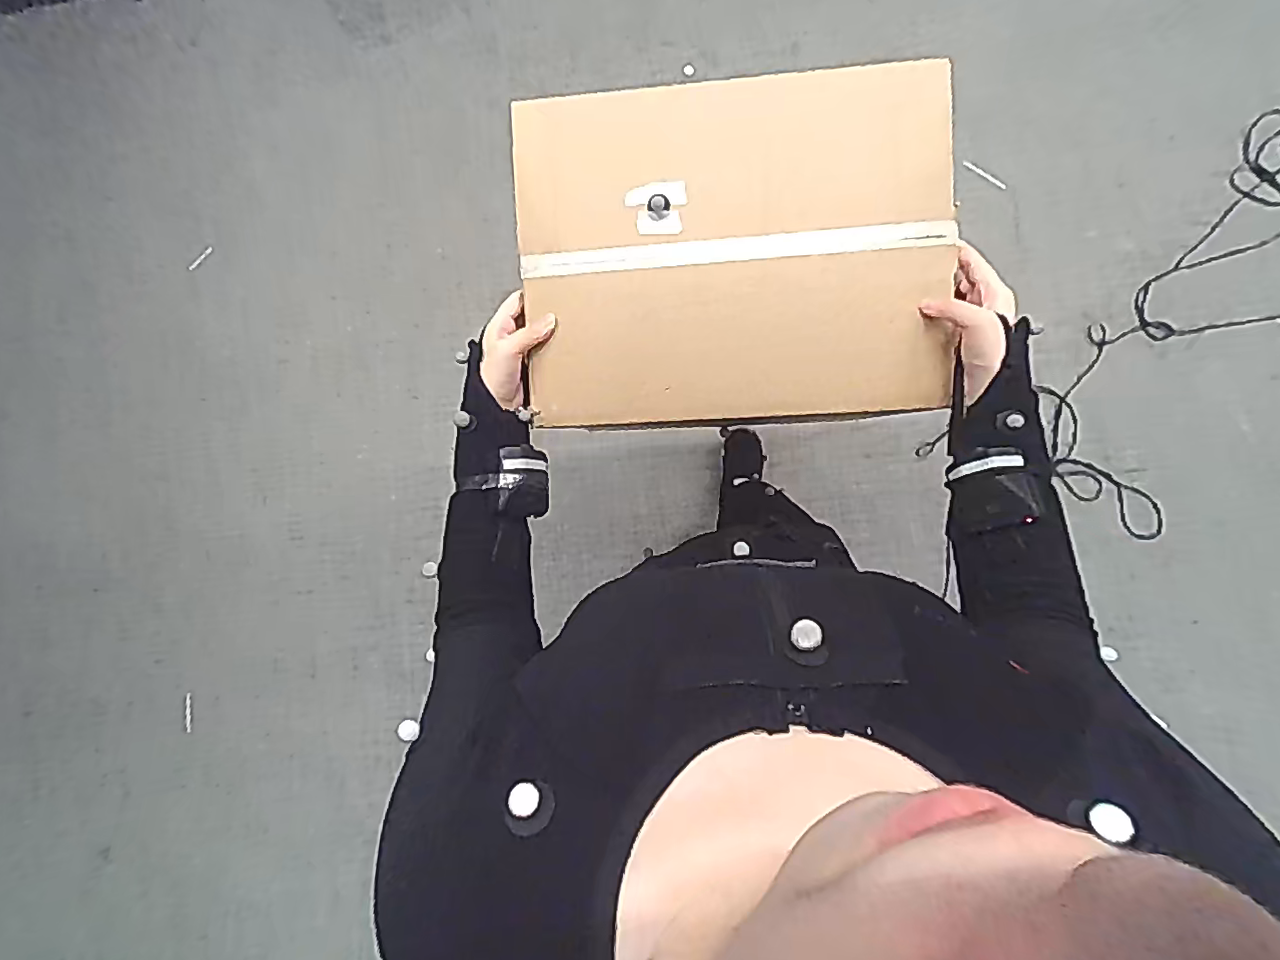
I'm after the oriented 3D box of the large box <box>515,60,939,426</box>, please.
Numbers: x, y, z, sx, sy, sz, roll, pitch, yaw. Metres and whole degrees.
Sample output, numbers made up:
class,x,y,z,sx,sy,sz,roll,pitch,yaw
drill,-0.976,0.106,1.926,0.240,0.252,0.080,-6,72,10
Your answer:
class,x,y,z,sx,sy,sz,roll,pitch,yaw
large box,0.099,-0.235,0.676,0.408,0.320,0.320,-3,94,7
